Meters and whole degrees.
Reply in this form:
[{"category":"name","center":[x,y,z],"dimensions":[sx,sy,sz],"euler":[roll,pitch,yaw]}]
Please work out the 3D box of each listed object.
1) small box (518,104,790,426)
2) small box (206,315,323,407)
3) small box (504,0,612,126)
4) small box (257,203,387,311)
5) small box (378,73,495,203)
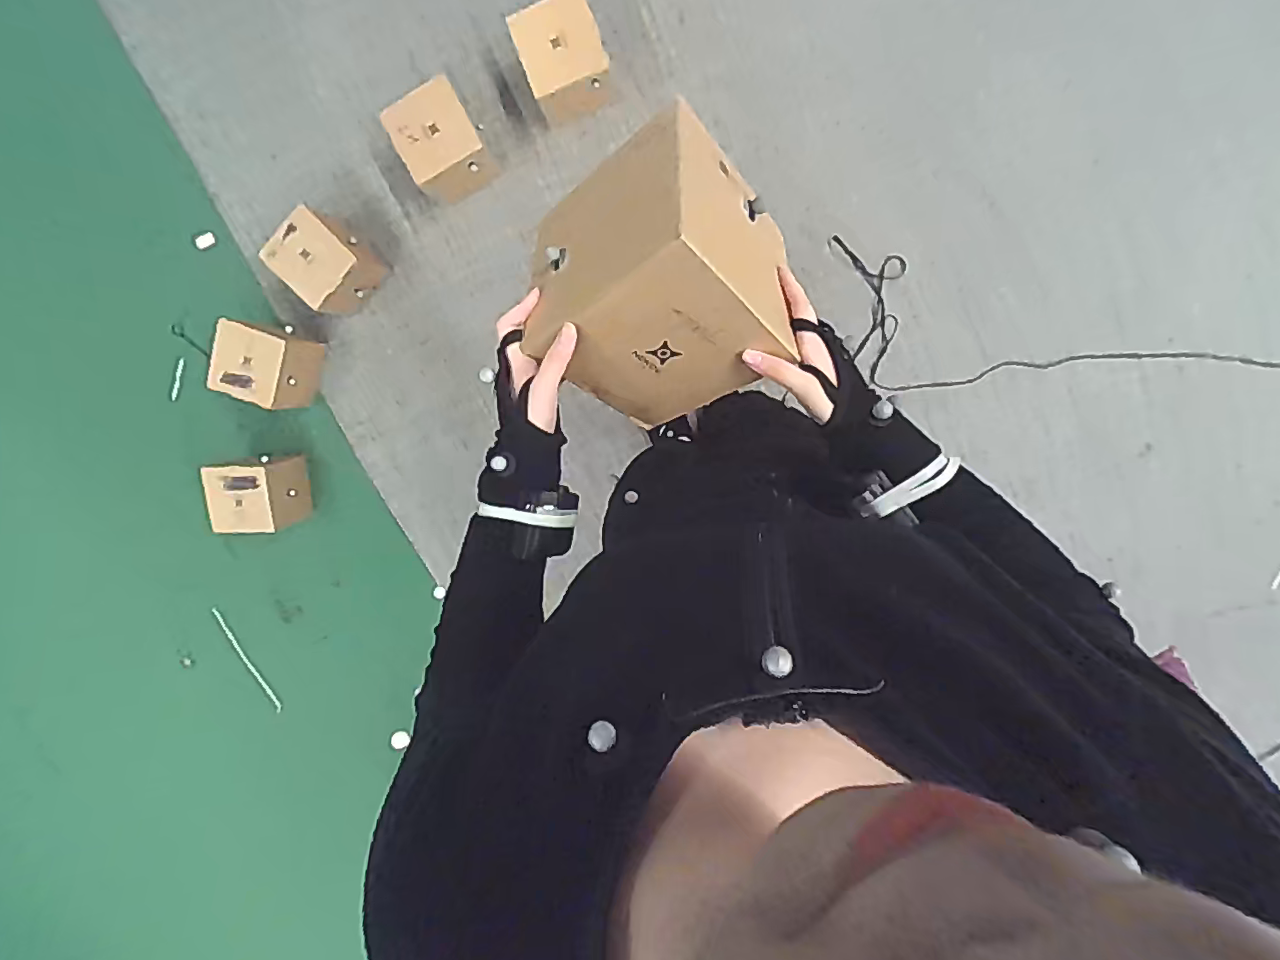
[{"category":"small box","center":[0.017,-0.180,0.493],"dimensions":[0.179,0.176,0.168],"euler":[-20,145,36]},{"category":"small box","center":[-0.944,-0.299,1.372],"dimensions":[0.168,0.176,0.179],"euler":[20,101,-3]},{"category":"small box","center":[-0.174,-0.938,1.214],"dimensions":[0.179,0.176,0.168],"euler":[-21,101,5]},{"category":"small box","center":[-0.762,-0.531,1.316],"dimensions":[0.168,0.176,0.179],"euler":[-43,98,10]},{"category":"small box","center":[-0.457,-0.779,1.253],"dimensions":[0.179,0.176,0.168],"euler":[-26,100,6]}]
